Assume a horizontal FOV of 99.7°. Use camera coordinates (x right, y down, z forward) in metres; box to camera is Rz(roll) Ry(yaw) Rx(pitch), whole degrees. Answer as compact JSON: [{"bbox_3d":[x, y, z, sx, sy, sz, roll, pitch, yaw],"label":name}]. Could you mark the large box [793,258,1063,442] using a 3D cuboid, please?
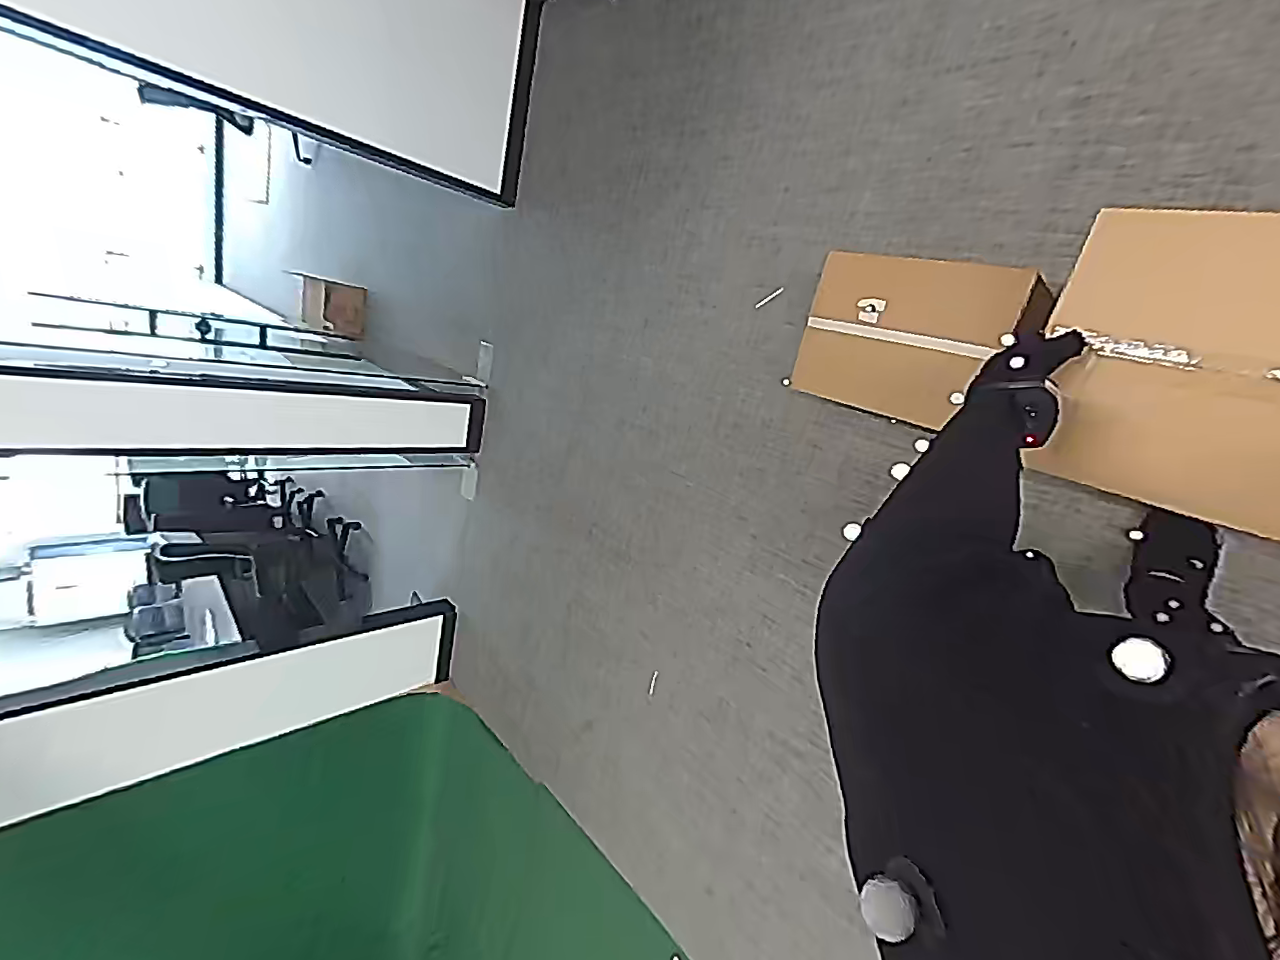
[{"bbox_3d":[0.631,-0.285,1.207,0.408,0.320,0.320,28,110,41],"label":"large box"}]
